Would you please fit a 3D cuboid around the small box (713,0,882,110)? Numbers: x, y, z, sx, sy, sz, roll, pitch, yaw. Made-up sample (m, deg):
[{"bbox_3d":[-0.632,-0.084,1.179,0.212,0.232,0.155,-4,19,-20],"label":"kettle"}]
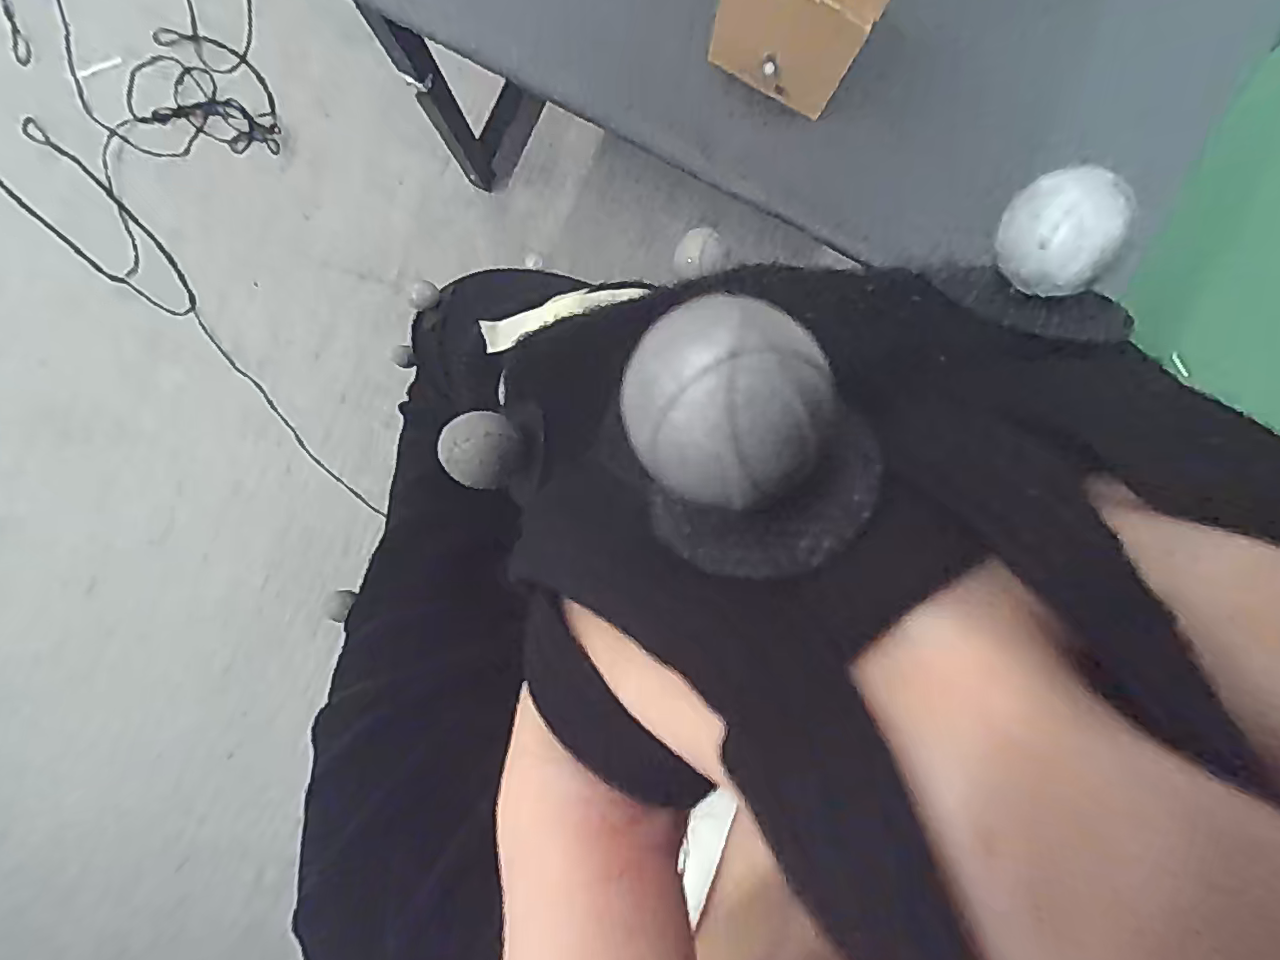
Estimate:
[{"bbox_3d":[0.200,-0.587,0.621,0.168,0.176,0.179,27,93,-4],"label":"small box"}]
